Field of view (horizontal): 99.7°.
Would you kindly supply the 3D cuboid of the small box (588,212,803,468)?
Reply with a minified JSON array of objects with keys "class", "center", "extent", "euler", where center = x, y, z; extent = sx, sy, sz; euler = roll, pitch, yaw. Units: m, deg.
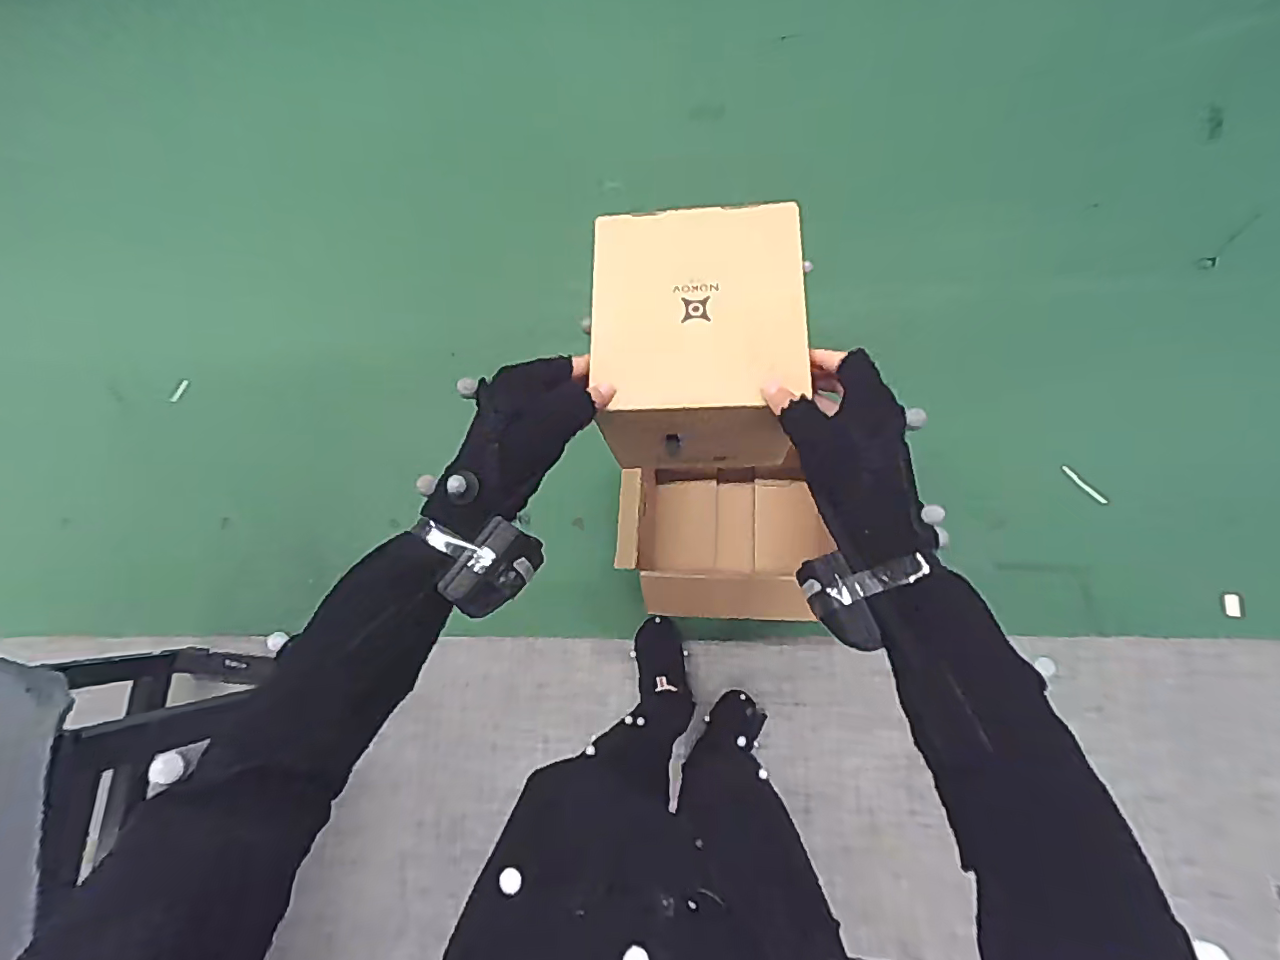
[{"class":"small box","center":[0.051,-0.111,0.502],"extent":[0.168,0.176,0.179],"euler":[-1,75,6]}]
